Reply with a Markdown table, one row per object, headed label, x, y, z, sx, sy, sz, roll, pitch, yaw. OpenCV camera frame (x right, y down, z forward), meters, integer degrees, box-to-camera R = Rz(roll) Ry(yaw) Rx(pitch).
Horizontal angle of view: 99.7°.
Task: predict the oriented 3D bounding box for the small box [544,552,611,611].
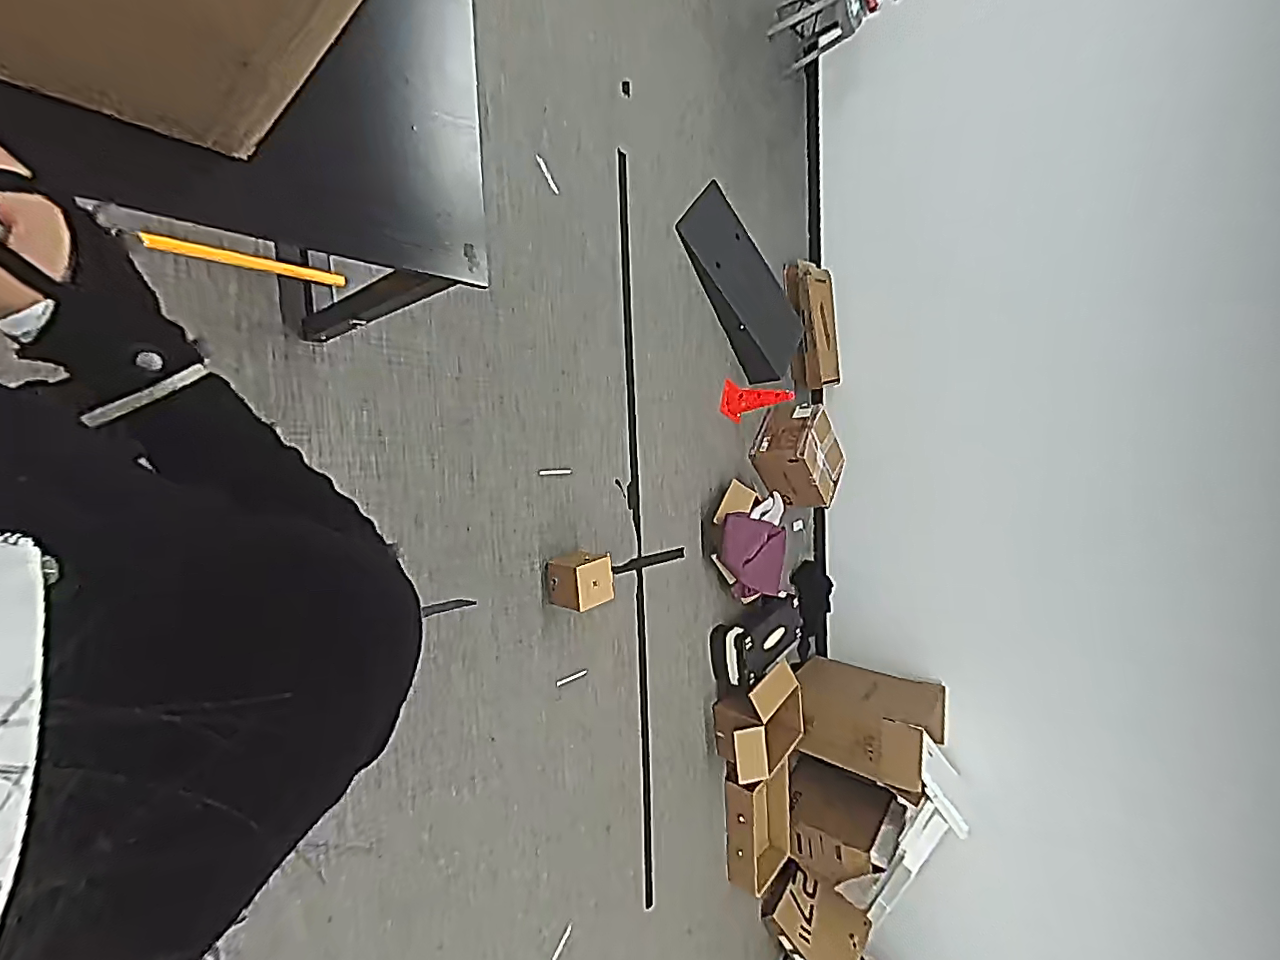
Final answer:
| label | x | y | z | sx | sy | sz | roll | pitch | yaw |
| --- | --- | --- | --- | --- | --- | --- | --- | --- | --- |
| small box | -0.232 | 0.368 | 2.000 | 0.179 | 0.176 | 0.168 | -12 | 99 | -48 |
